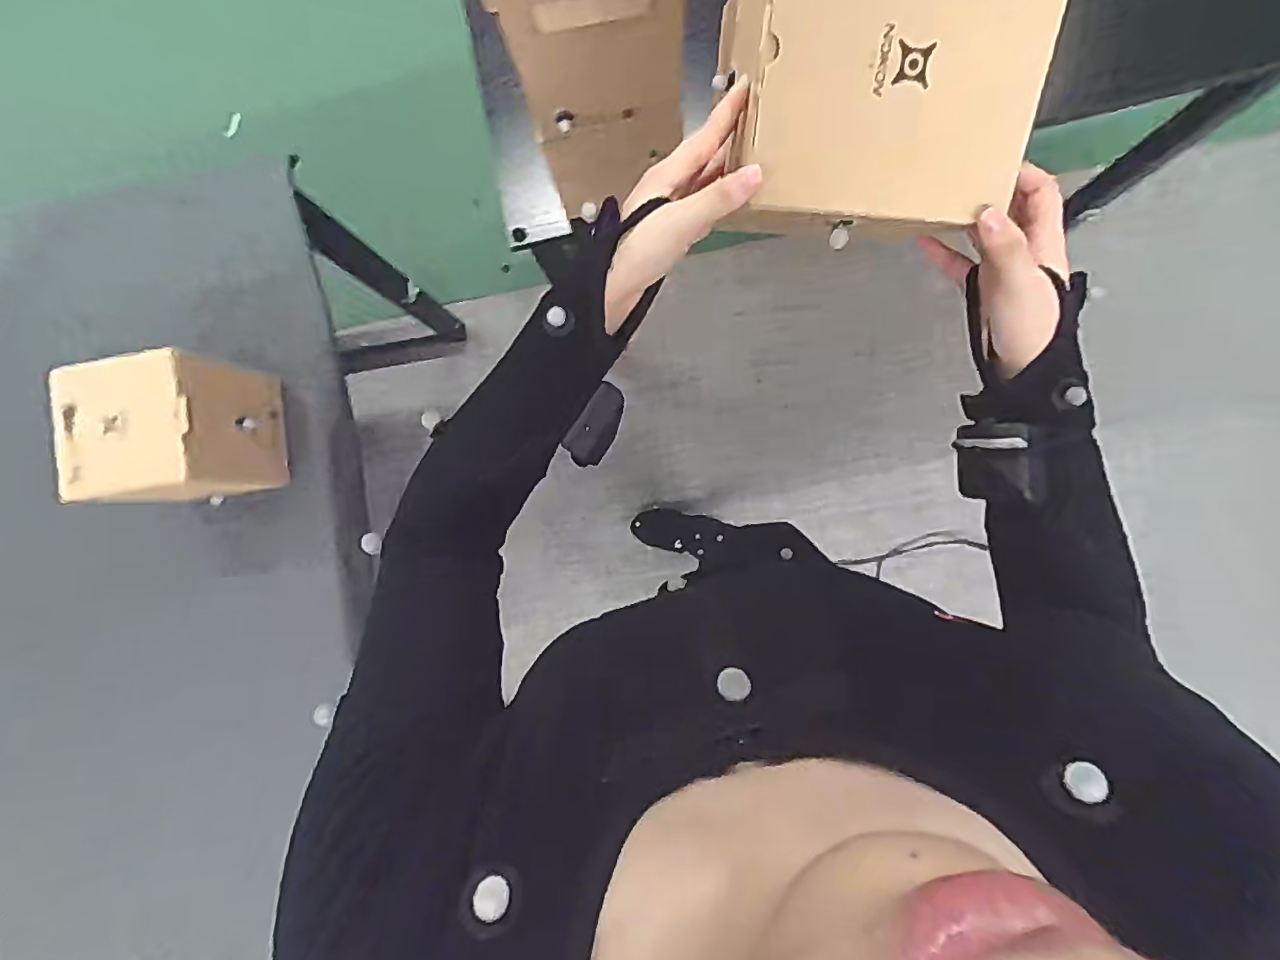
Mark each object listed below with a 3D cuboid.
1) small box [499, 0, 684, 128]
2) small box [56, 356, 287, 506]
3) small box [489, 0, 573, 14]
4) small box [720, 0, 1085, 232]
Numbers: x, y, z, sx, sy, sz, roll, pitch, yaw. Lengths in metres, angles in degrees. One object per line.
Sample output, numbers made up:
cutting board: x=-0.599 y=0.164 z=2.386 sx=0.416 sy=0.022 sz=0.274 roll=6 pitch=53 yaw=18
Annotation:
small box: x=-0.046 y=-0.491 z=0.545 sx=0.168 sy=0.176 sz=0.179 roll=-8 pitch=86 yaw=3
small box: x=-0.616 y=-0.058 z=0.736 sx=0.179 sy=0.176 sz=0.168 roll=-8 pitch=88 yaw=6
small box: x=-0.056 y=-0.490 z=0.382 sx=0.179 sy=0.176 sz=0.168 roll=-8 pitch=85 yaw=4
small box: x=0.166 y=-0.279 z=0.393 sx=0.179 sy=0.176 sz=0.168 roll=3 pitch=111 yaw=-2
